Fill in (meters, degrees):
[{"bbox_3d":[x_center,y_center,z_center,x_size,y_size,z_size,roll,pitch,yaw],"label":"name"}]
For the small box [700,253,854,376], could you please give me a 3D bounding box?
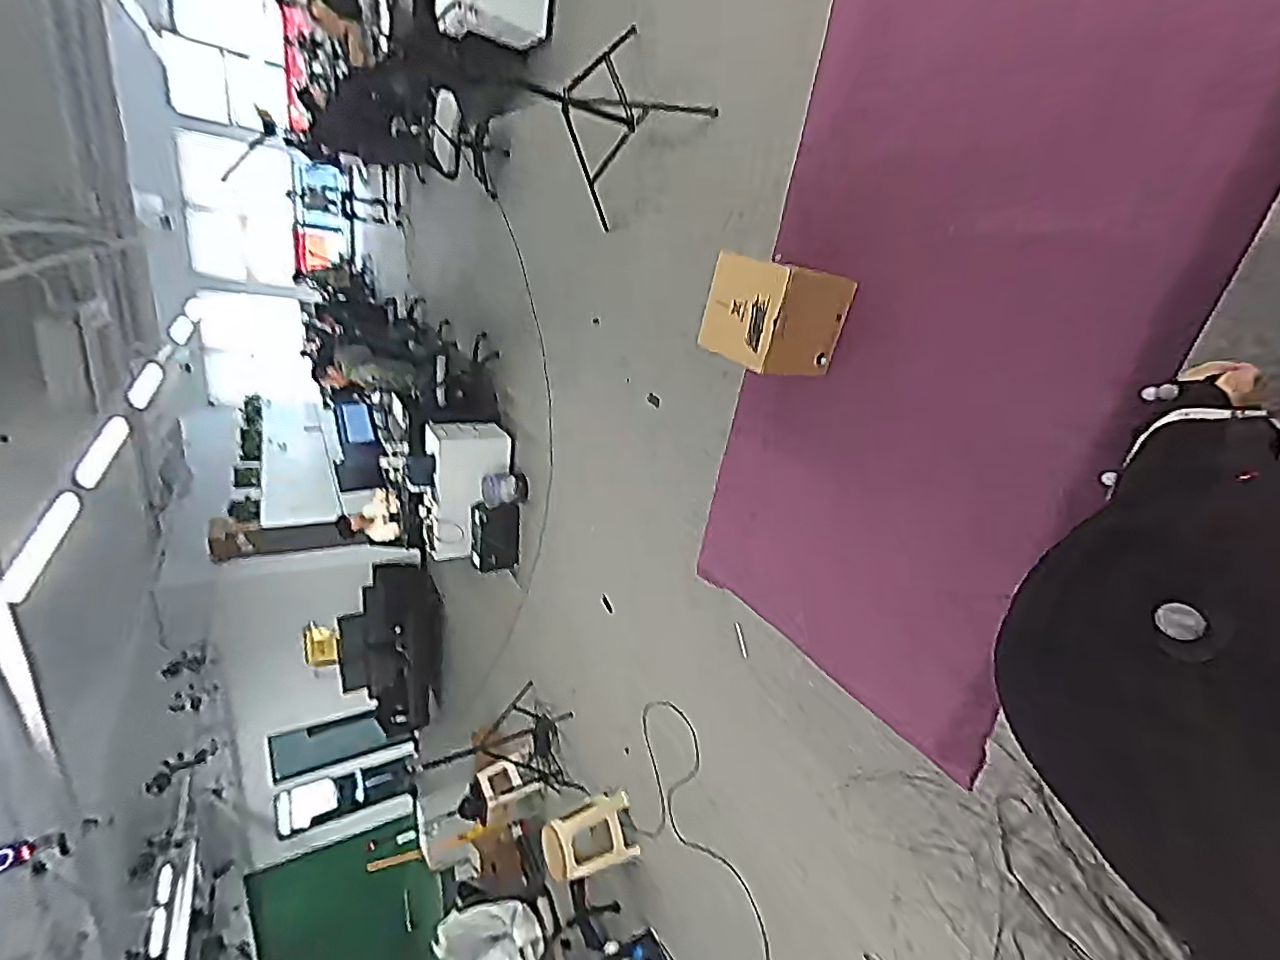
[{"bbox_3d":[0.239,-0.289,0.952,0.179,0.176,0.168,42,127,46],"label":"small box"}]
